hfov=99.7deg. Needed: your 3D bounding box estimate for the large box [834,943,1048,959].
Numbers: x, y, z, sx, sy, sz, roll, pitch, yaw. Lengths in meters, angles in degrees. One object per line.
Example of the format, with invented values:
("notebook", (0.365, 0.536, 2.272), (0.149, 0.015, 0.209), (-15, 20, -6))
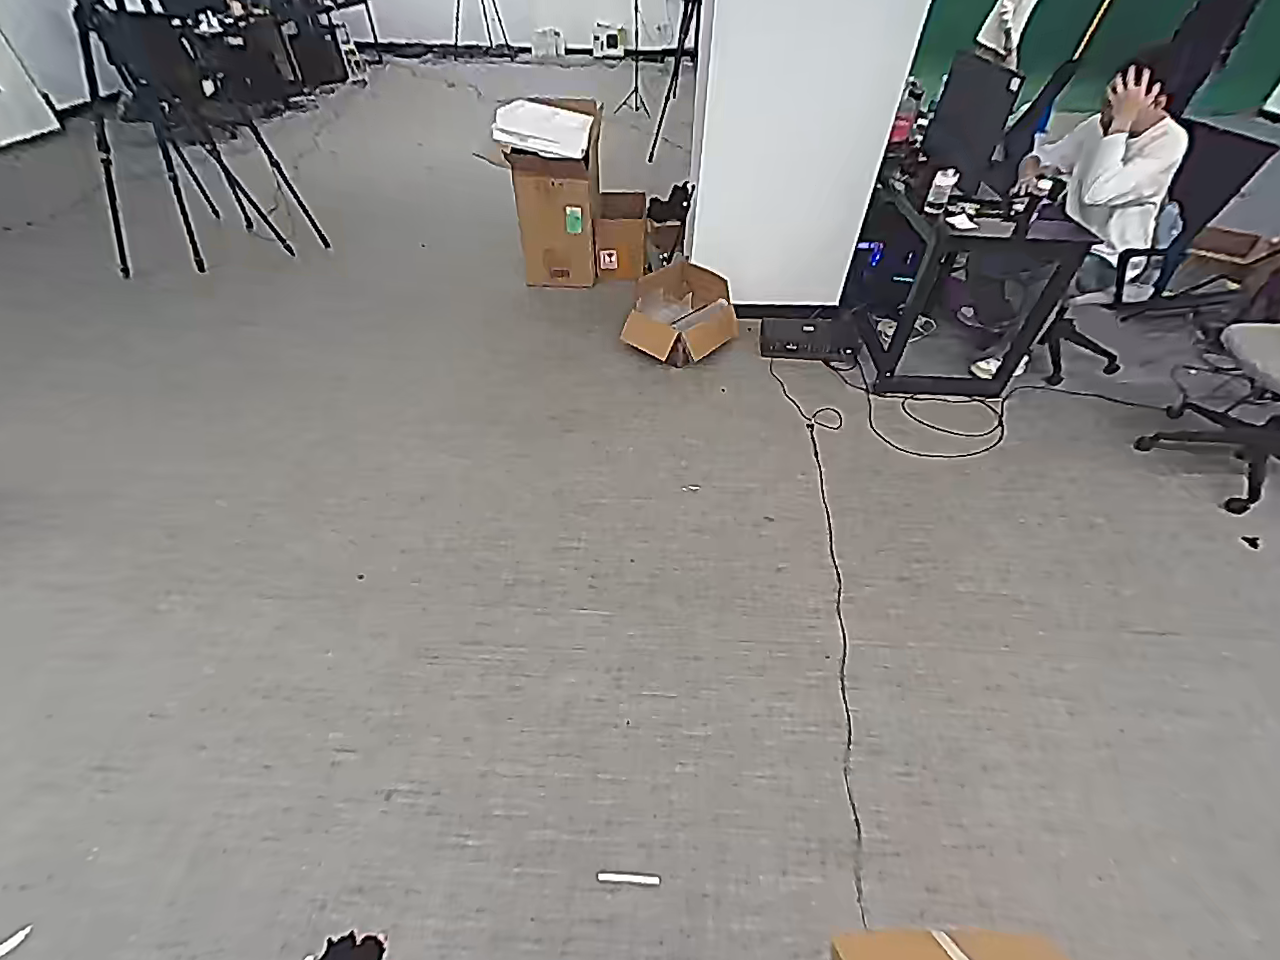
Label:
("large box", (0.429, 0.789, 0.560), (0.320, 0.408, 0.320), (2, 80, -2))
